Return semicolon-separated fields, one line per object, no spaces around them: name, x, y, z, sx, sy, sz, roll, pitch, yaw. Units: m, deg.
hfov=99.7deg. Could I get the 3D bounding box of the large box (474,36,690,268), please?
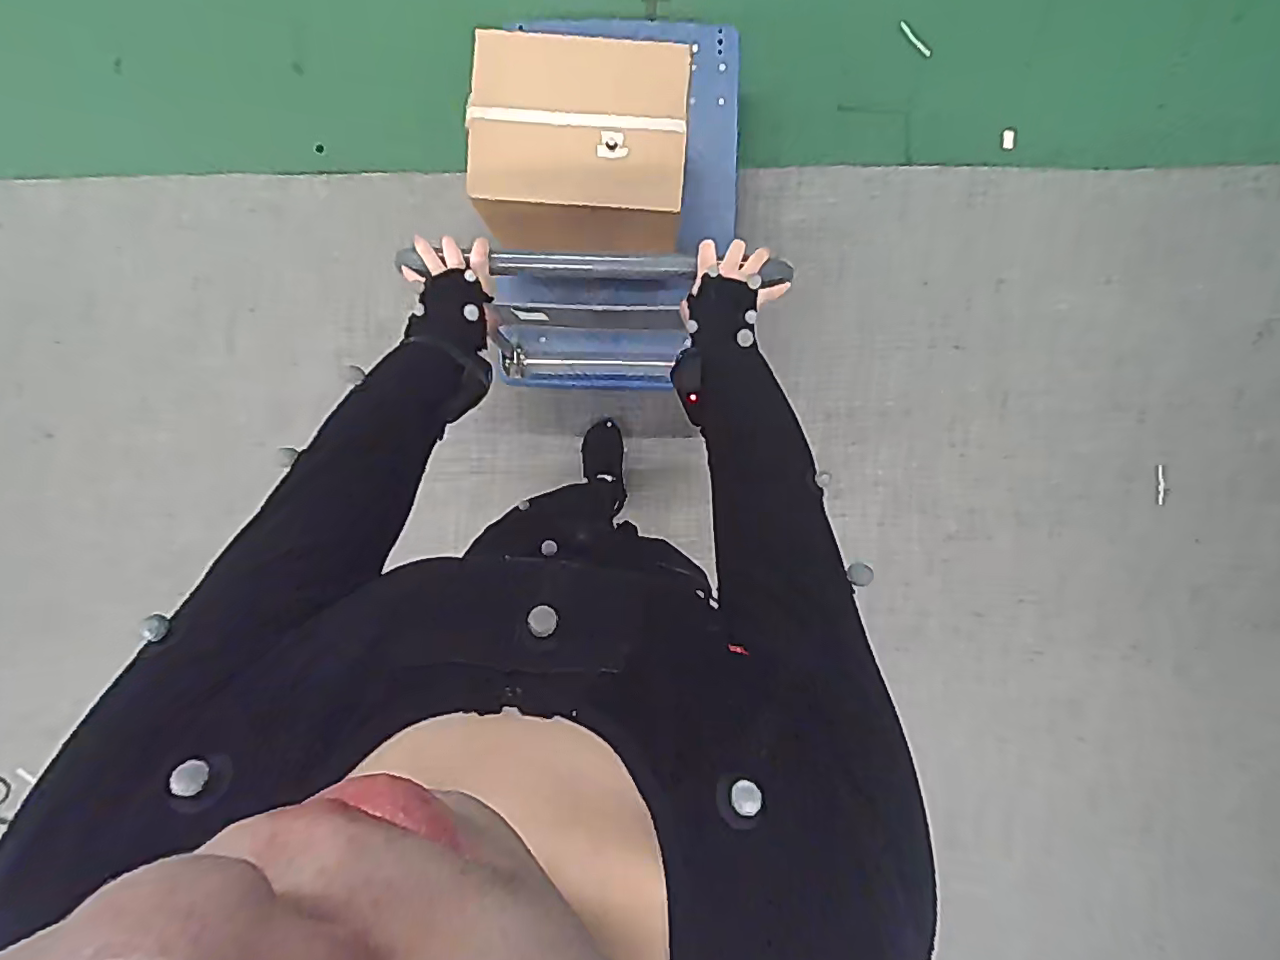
large box;-0.115;-0.679;1.175;0.408;0.320;0.320;4;91;-1
